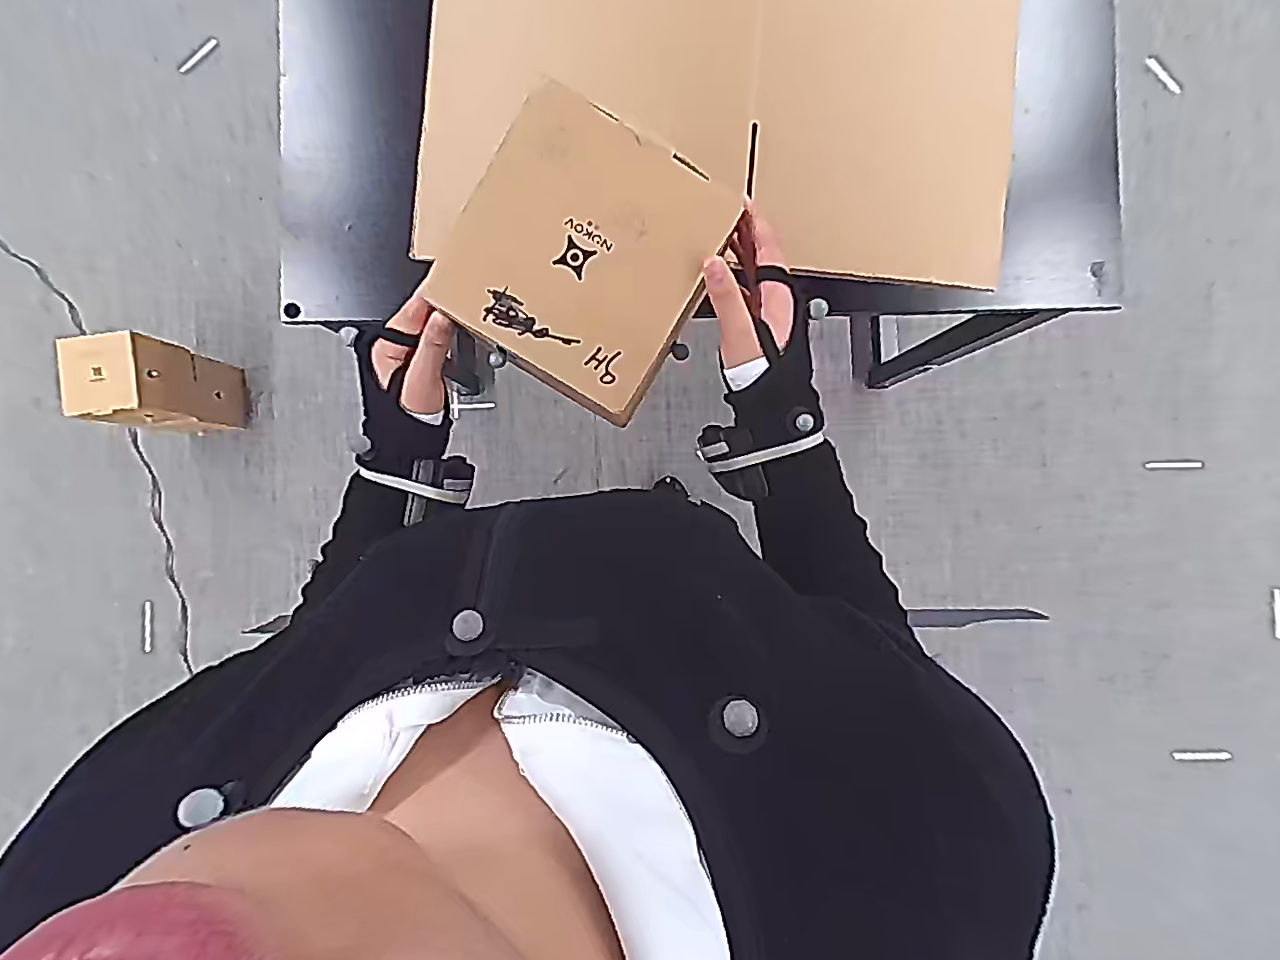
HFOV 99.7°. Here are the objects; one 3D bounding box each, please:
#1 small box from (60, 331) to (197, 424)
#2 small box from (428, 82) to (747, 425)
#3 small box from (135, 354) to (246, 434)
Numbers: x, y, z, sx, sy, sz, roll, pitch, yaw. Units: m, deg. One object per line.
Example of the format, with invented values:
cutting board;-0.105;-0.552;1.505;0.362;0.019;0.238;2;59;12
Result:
small box;-1.185;-0.232;1.267;0.168;0.176;0.179;-8;87;-1
small box;-0.038;-0.163;0.456;0.168;0.176;0.179;31;91;-1
small box;-1.183;-0.222;1.429;0.168;0.176;0.179;-5;90;0
